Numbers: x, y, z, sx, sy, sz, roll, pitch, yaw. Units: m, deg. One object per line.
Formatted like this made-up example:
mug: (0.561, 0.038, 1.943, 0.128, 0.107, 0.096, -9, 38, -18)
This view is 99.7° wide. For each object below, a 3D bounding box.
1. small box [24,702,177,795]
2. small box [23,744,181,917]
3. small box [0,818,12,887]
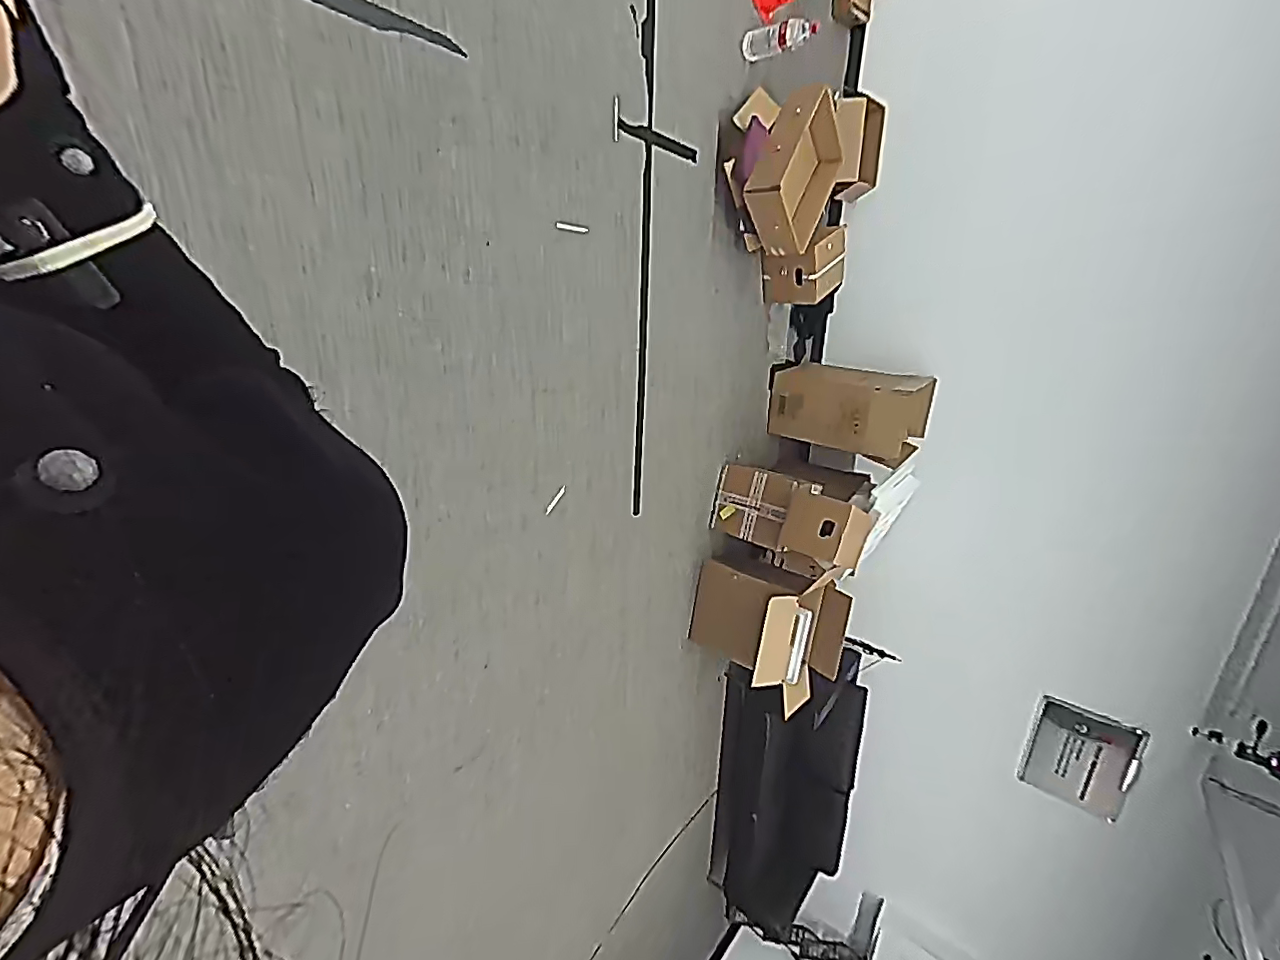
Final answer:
small box: (-1.136, 0.610, 1.142, 0.179, 0.176, 0.168, -28, 123, -46)
small box: (-1.022, 0.652, 1.027, 0.179, 0.176, 0.168, -23, 121, -47)
small box: (-1.292, 0.682, 0.967, 0.179, 0.176, 0.168, -28, 125, -46)
